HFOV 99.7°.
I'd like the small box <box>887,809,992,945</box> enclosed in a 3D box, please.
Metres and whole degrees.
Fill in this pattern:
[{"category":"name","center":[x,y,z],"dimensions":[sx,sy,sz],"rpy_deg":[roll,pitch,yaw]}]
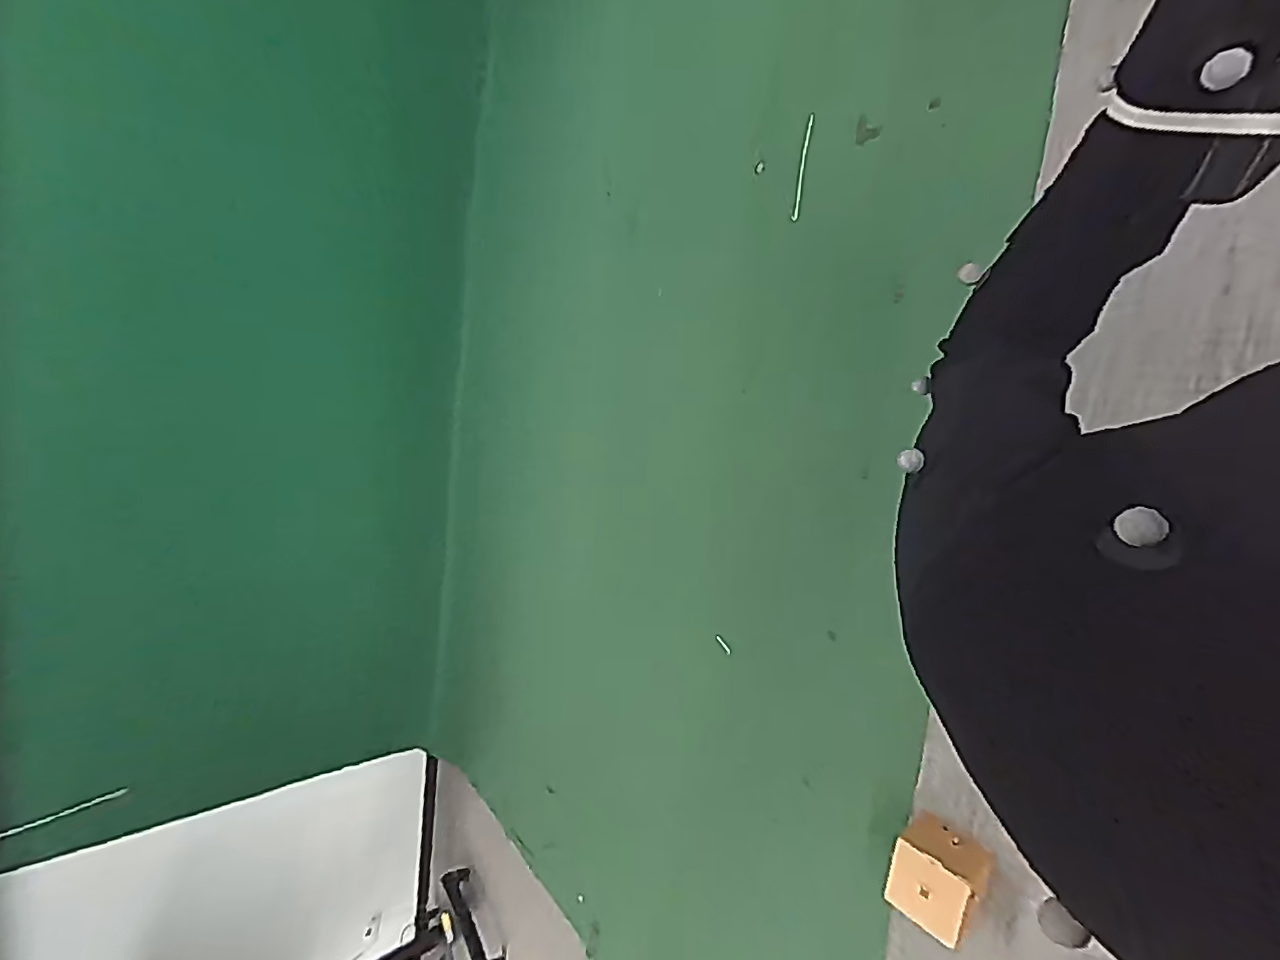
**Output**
[{"category":"small box","center":[0.737,0.962,1.328],"dimensions":[0.168,0.176,0.179],"rpy_deg":[16,101,47]}]
